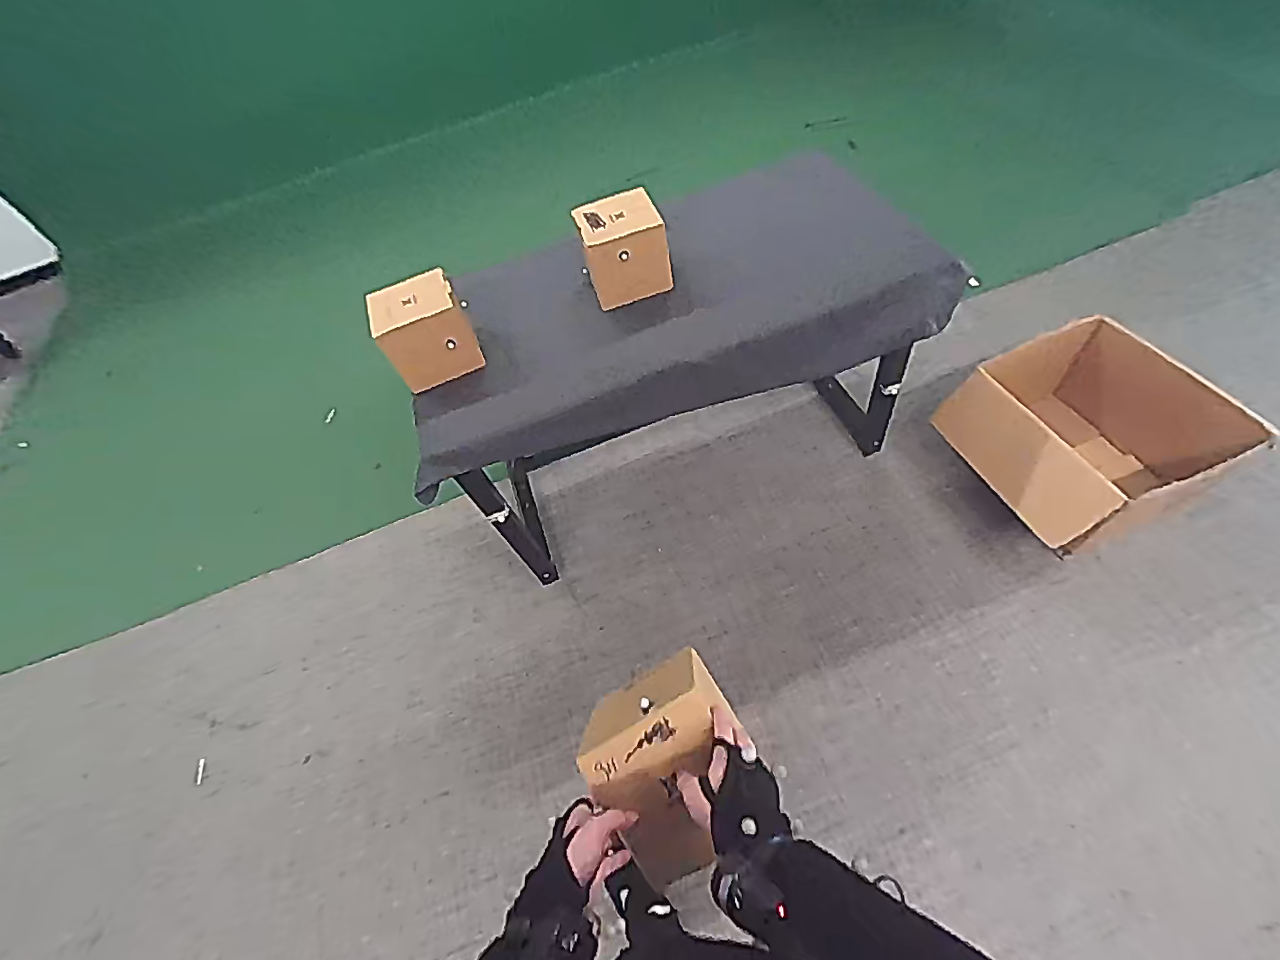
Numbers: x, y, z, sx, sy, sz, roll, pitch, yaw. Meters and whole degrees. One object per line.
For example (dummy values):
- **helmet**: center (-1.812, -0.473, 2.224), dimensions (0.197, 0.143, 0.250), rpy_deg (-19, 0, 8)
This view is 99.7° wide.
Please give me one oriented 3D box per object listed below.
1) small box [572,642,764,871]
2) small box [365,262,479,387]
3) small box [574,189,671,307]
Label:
- **small box**: center (0.039, 0.345, 0.711), dimensions (0.168, 0.176, 0.179), rpy_deg (-34, 88, 4)
- **small box**: center (-0.471, -0.338, 1.190), dimensions (0.179, 0.176, 0.168), rpy_deg (-25, 54, -5)
- **small box**: center (-0.037, -0.527, 1.244), dimensions (0.179, 0.176, 0.168), rpy_deg (-16, 57, 1)
